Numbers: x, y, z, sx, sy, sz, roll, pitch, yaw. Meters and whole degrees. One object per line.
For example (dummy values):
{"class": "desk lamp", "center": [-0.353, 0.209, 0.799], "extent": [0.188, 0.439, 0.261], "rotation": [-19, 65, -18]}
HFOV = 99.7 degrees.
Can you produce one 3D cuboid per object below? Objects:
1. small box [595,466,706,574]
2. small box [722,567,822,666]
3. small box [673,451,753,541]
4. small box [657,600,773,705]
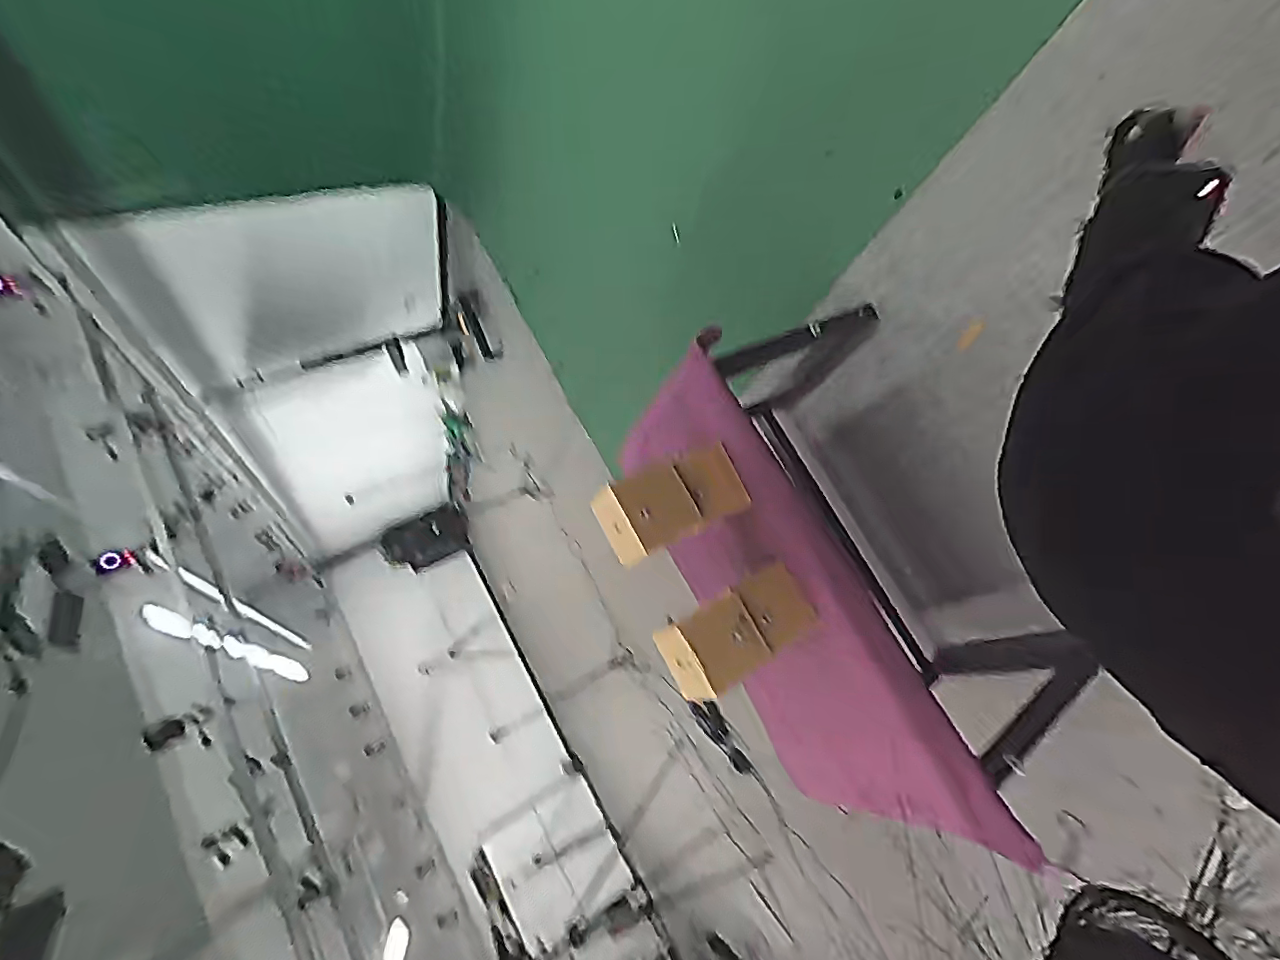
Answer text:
{"class": "small box", "center": [0.025, 0.092, 1.258], "extent": [0.179, 0.176, 0.168], "rotation": [61, 154, 8]}
{"class": "small box", "center": [0.305, 0.341, 1.313], "extent": [0.179, 0.176, 0.168], "rotation": [58, 152, 18]}
{"class": "small box", "center": [0.149, 0.041, 1.356], "extent": [0.179, 0.176, 0.168], "rotation": [63, 154, 3]}
{"class": "small box", "center": [0.169, 0.393, 1.234], "extent": [0.168, 0.176, 0.179], "rotation": [60, 153, 11]}
